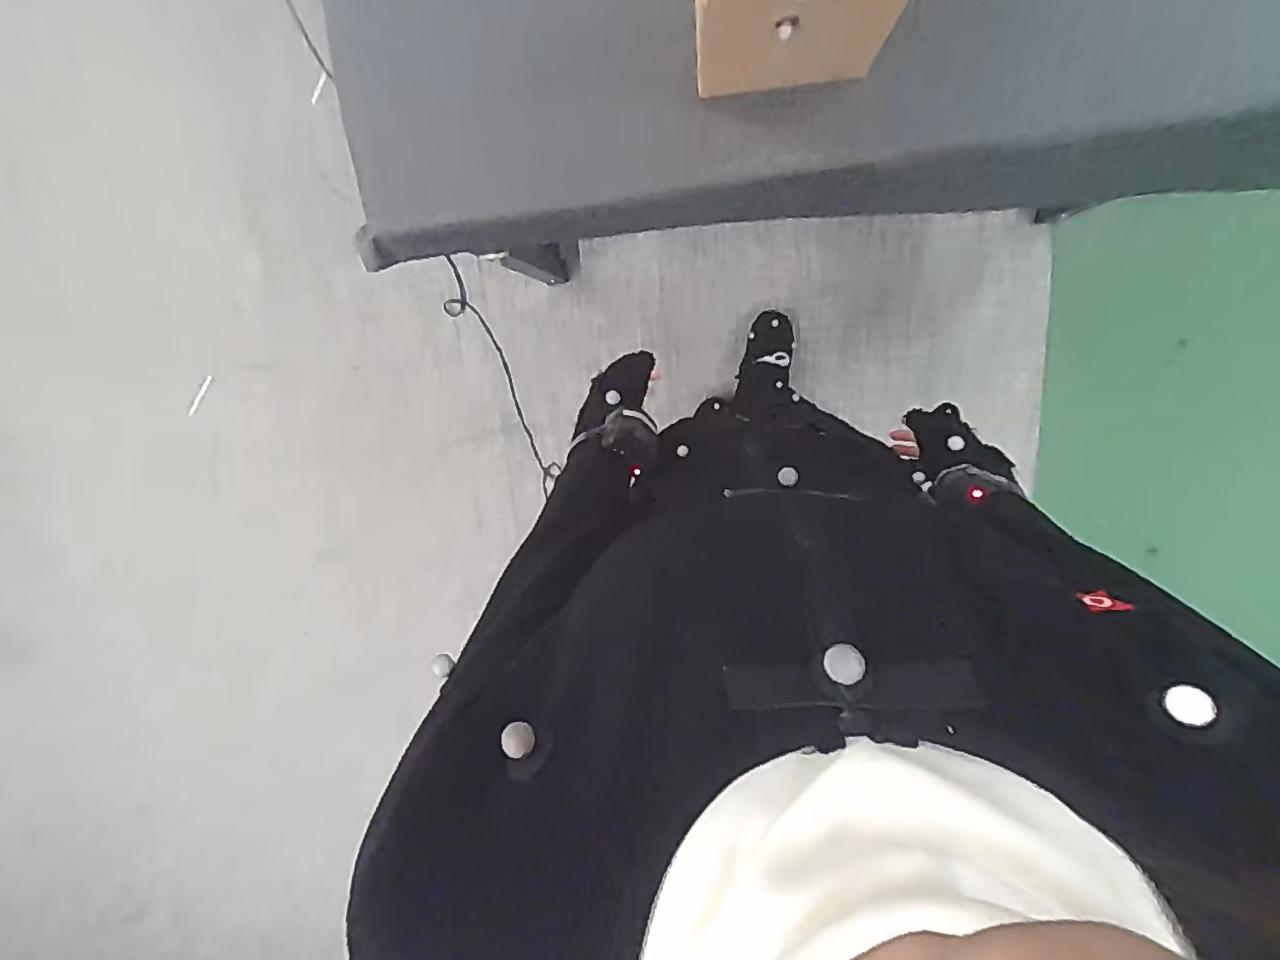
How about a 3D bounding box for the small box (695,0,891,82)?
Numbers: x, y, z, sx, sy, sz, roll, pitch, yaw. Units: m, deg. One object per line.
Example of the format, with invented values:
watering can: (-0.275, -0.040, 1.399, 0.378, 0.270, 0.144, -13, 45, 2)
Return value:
small box: (0.135, -0.488, 0.481, 0.179, 0.176, 0.168, -1, 104, 7)
